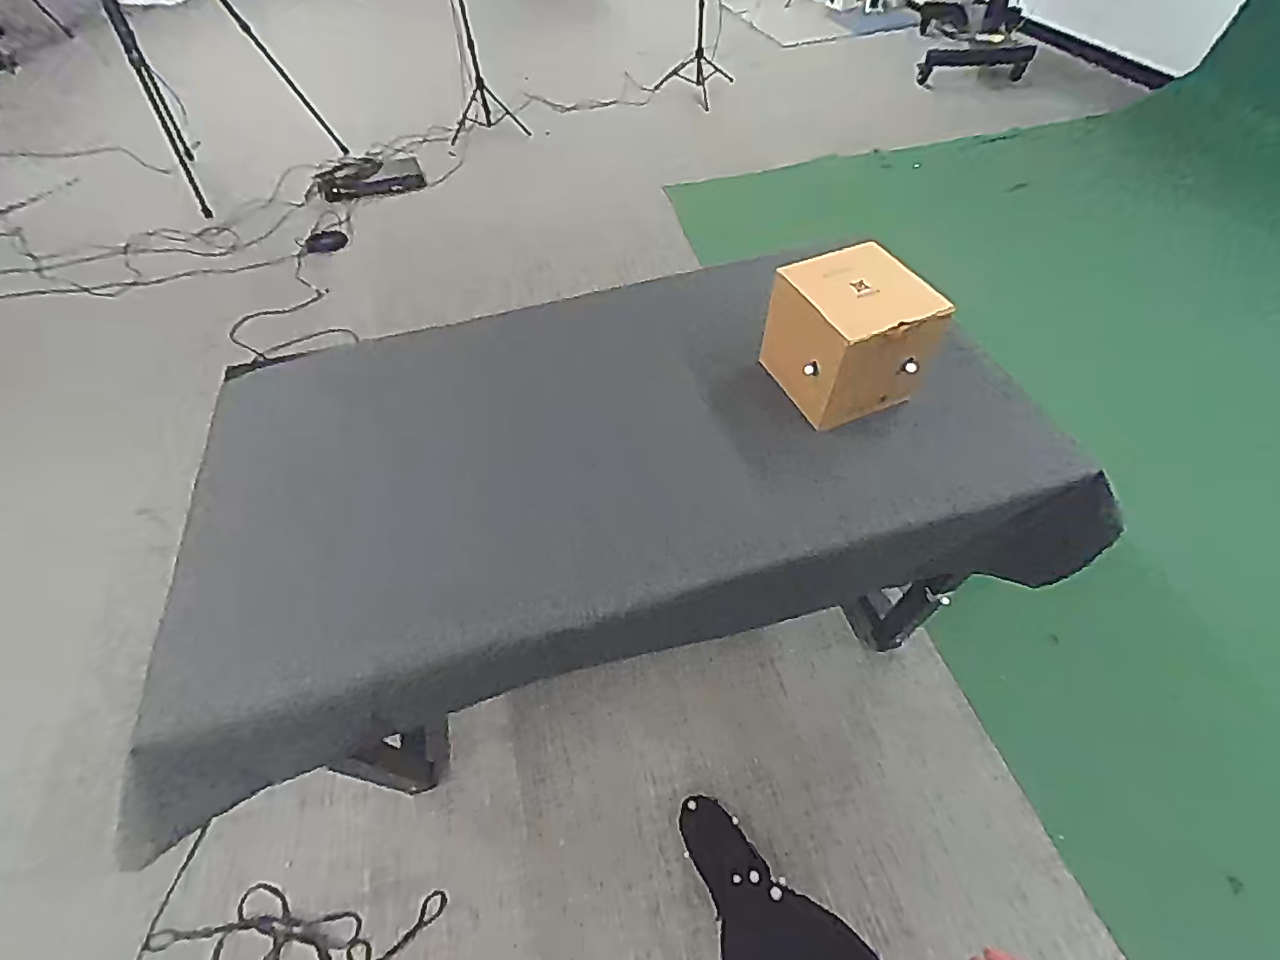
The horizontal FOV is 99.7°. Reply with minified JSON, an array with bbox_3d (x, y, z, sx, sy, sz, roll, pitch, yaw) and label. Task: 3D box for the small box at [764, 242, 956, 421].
[{"bbox_3d":[0.299,-0.206,0.779,0.168,0.176,0.179,-19,54,-12],"label":"small box"}]
